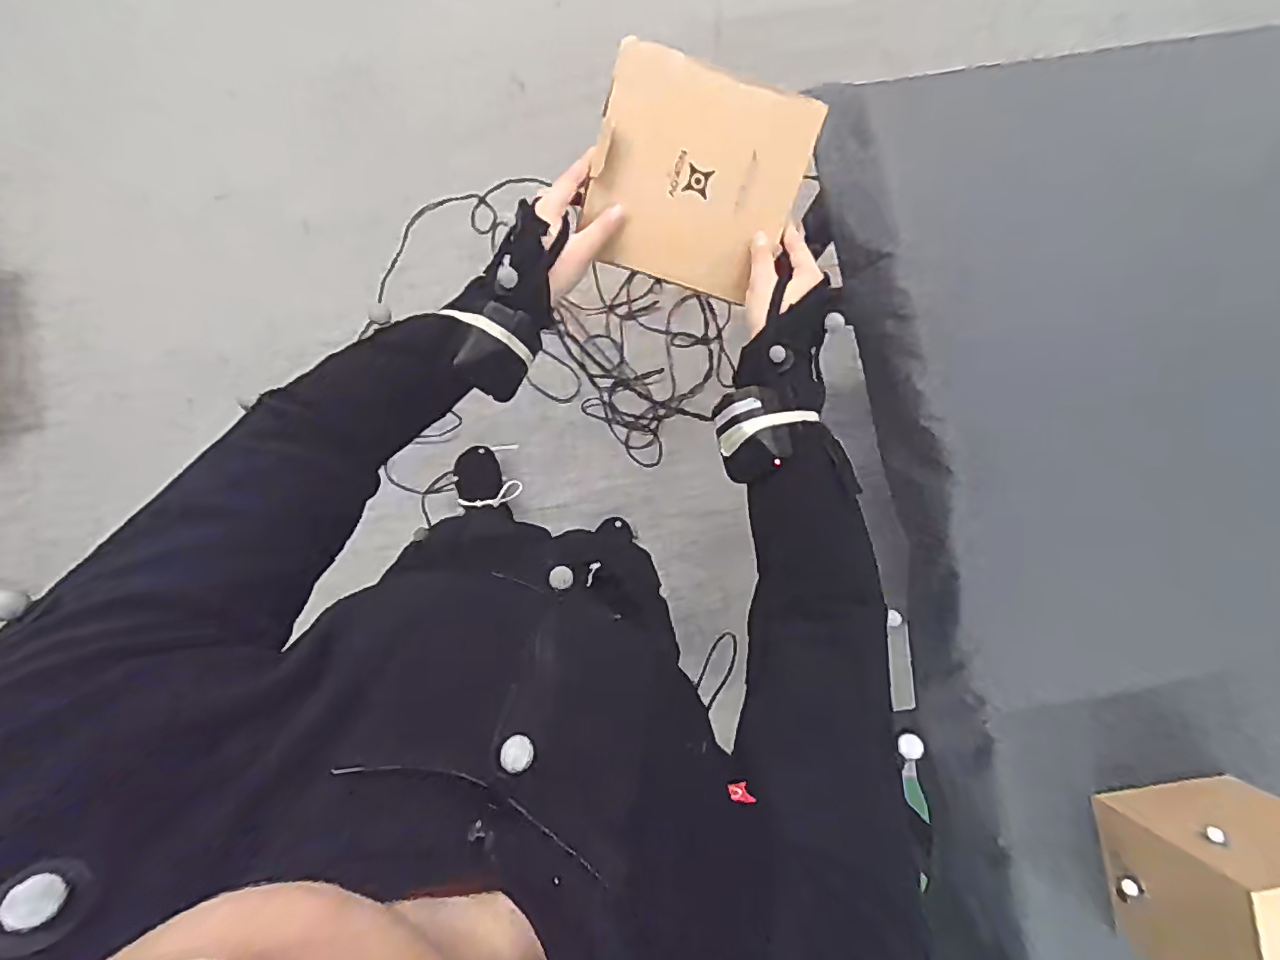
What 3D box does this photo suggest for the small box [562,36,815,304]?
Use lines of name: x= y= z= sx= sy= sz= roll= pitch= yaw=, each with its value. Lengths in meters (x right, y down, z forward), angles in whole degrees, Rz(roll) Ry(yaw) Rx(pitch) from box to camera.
small box: x=0.038 y=-0.277 z=0.526 sx=0.179 sy=0.176 sz=0.168 roll=15 pitch=109 yaw=-4
